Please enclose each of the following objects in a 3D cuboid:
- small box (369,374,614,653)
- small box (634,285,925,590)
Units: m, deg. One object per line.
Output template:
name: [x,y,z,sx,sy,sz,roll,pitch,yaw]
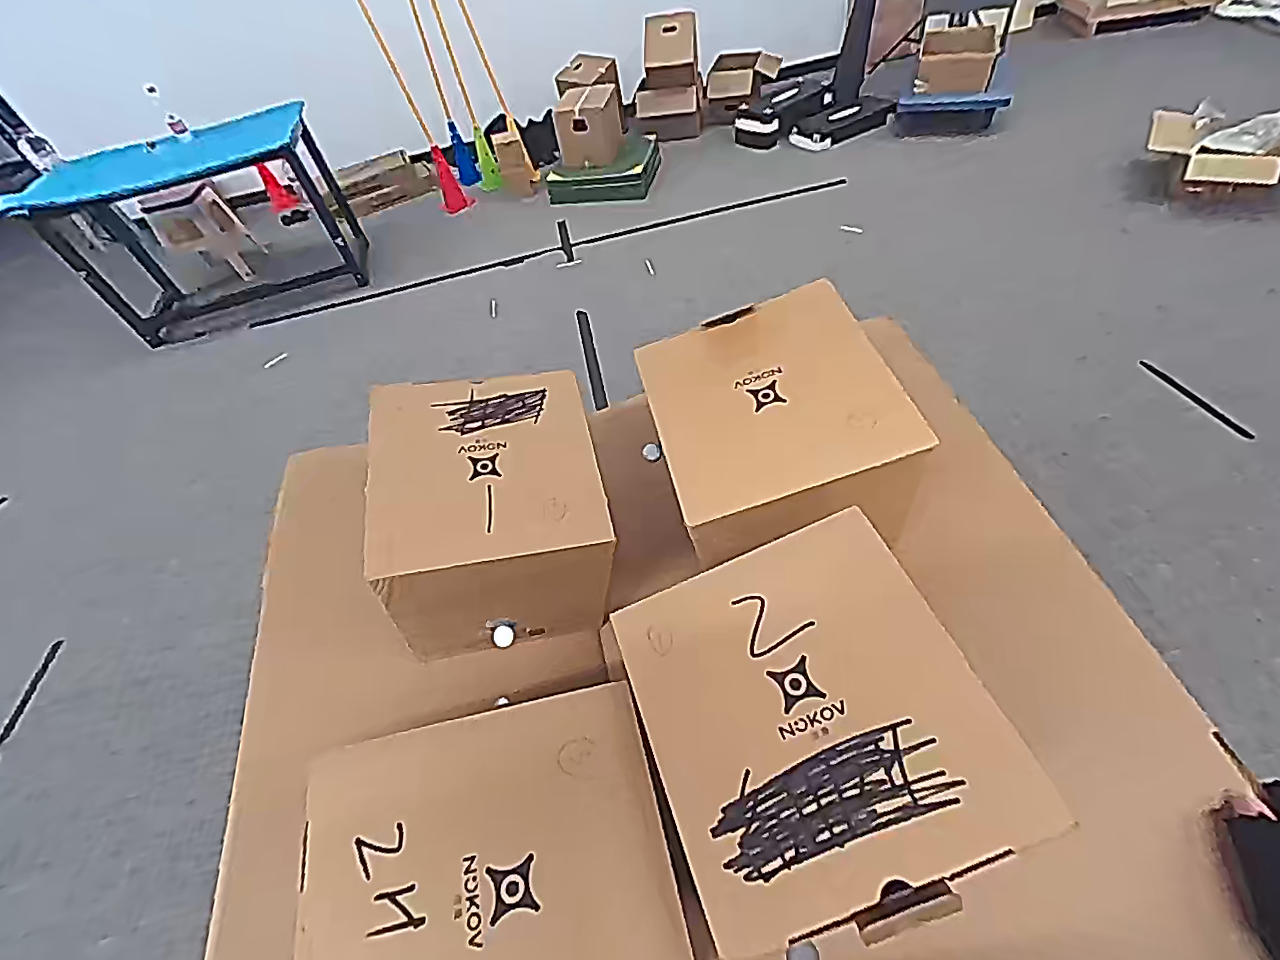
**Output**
small box: [-0.124,0.031,0.479,0.168,0.176,0.179,-7,56,-12]
small box: [0.110,-0.022,0.460,0.168,0.176,0.179,-19,54,6]
